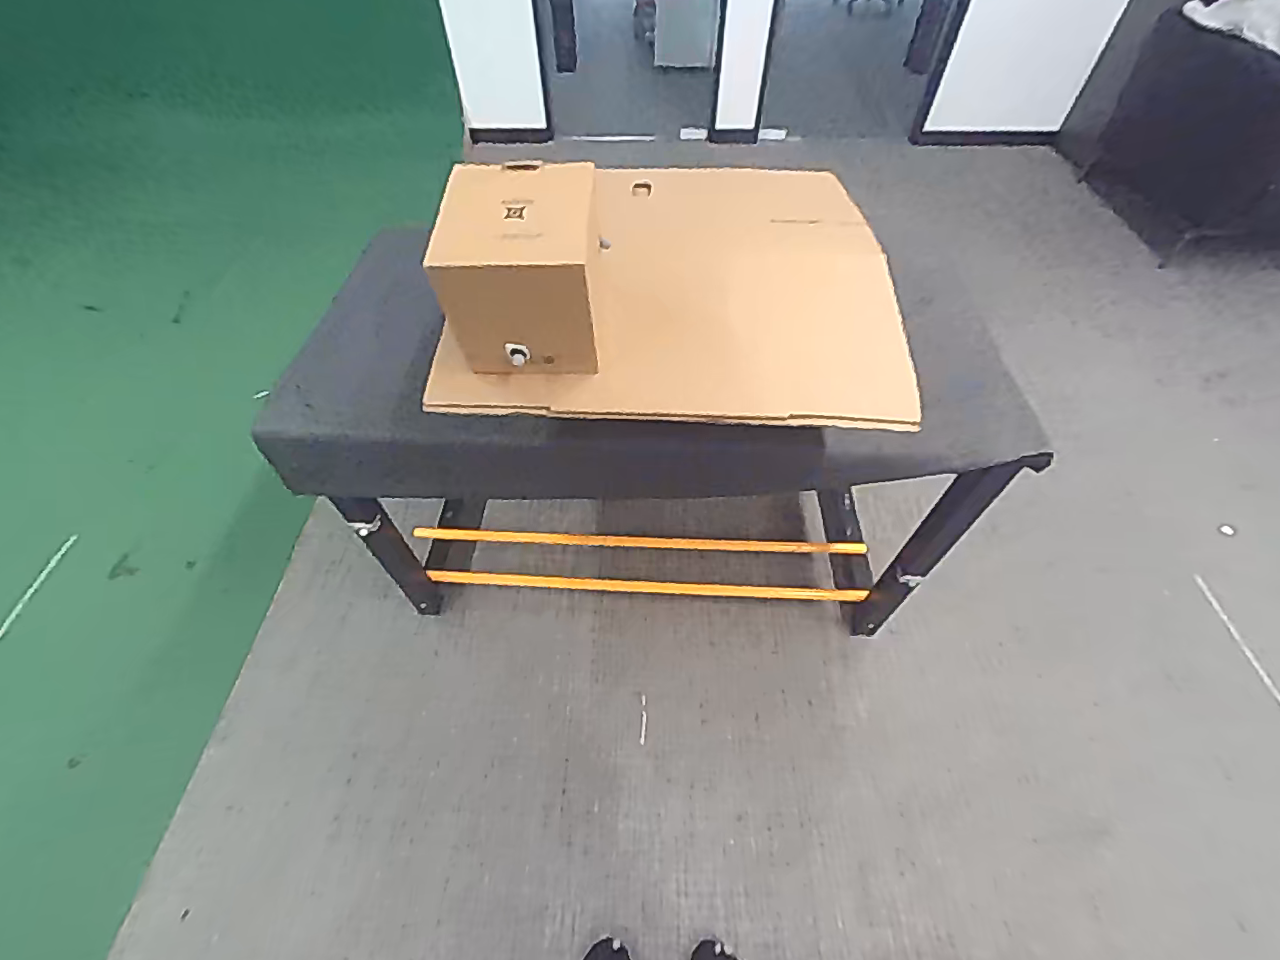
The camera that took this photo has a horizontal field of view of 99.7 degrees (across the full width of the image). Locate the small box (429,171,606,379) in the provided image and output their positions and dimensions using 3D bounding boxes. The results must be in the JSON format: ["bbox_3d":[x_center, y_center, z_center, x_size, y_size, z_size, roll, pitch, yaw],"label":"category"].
[{"bbox_3d":[-0.132,-0.243,0.657,0.168,0.176,0.179,-1,61,1],"label":"small box"}]
